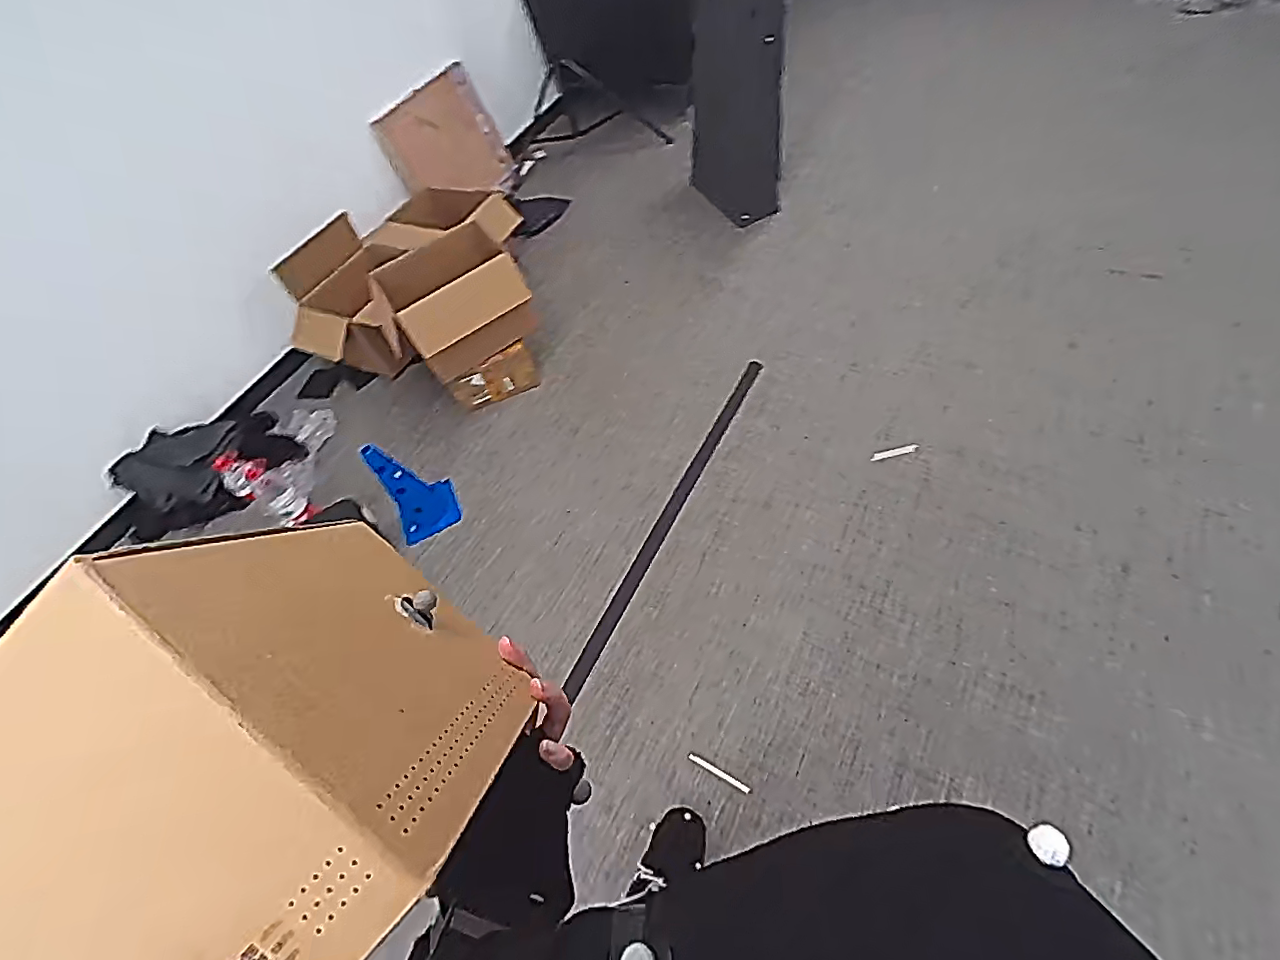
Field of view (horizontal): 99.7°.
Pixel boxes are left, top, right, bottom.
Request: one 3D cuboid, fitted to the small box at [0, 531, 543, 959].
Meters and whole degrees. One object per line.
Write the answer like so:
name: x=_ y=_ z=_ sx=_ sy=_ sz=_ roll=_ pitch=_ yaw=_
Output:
small box: x=-0.176 y=0.148 z=0.288 sx=0.176 sy=0.179 sz=0.168 roll=42 pitch=93 yaw=3
